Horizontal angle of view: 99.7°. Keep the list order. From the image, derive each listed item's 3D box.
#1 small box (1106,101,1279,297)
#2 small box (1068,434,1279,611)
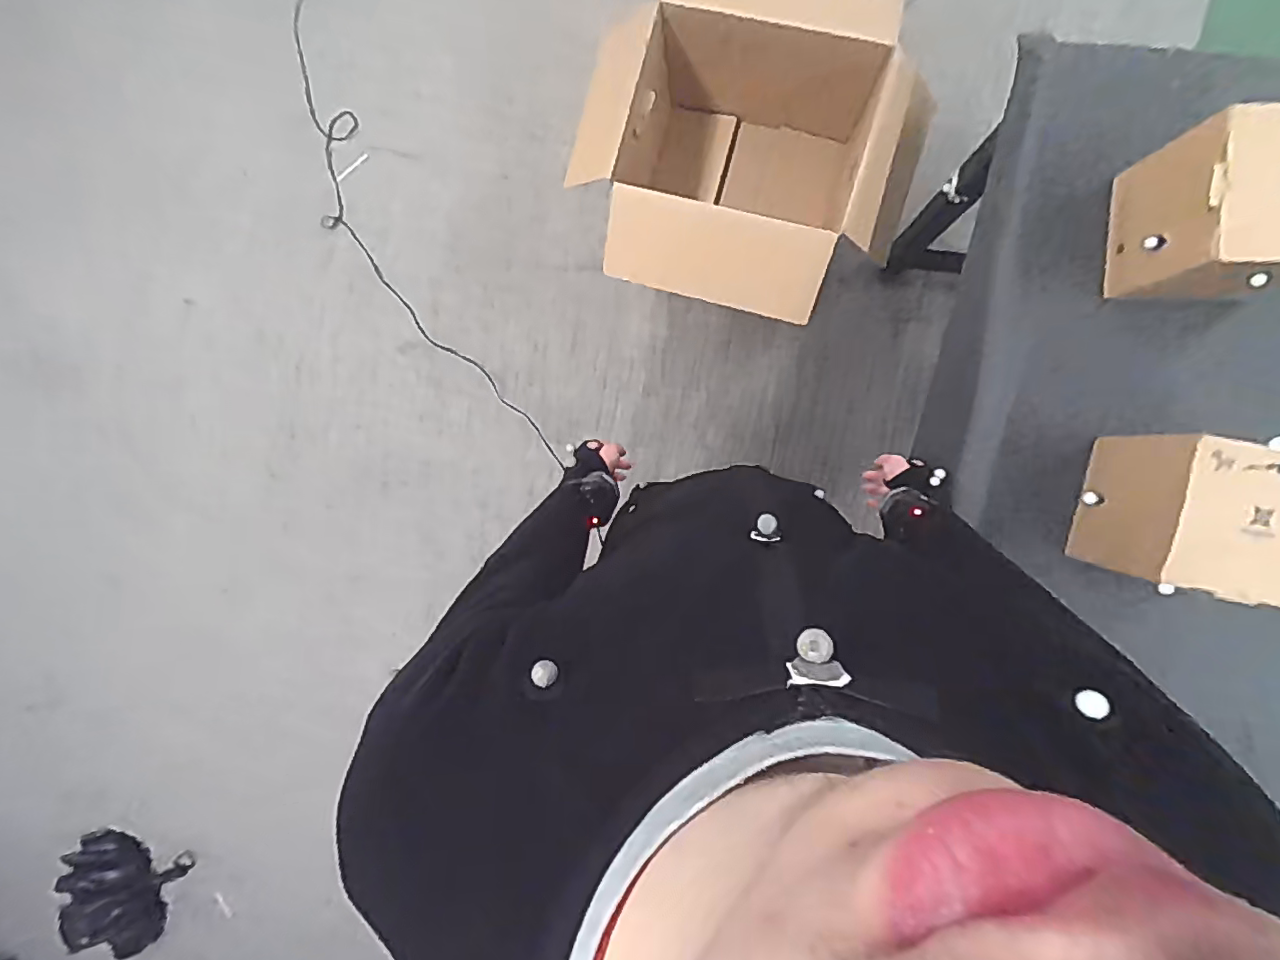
[{"bbox_3d":[0.720,-0.325,0.656,0.179,0.176,0.168,2,95,5],"label":"small box"},{"bbox_3d":[0.691,0.043,0.680,0.168,0.176,0.179,12,96,6],"label":"small box"}]
